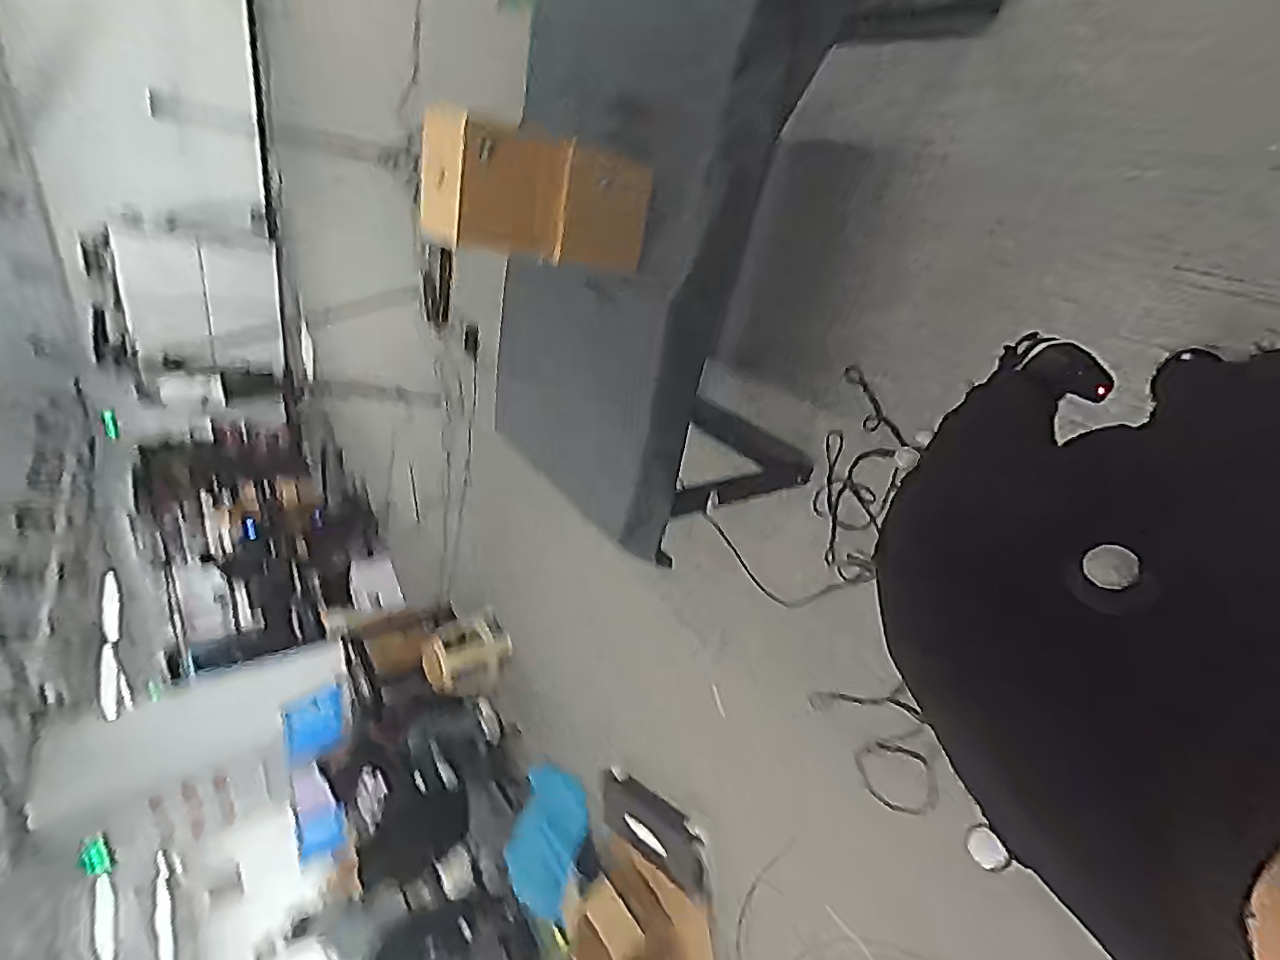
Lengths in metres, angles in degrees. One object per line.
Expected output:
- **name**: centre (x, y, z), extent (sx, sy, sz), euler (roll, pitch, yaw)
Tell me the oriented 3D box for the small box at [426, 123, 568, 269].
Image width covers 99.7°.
- **small box**: centre (-0.235, -0.456, 0.881), extent (0.168, 0.176, 0.179), euler (38, 124, 41)
